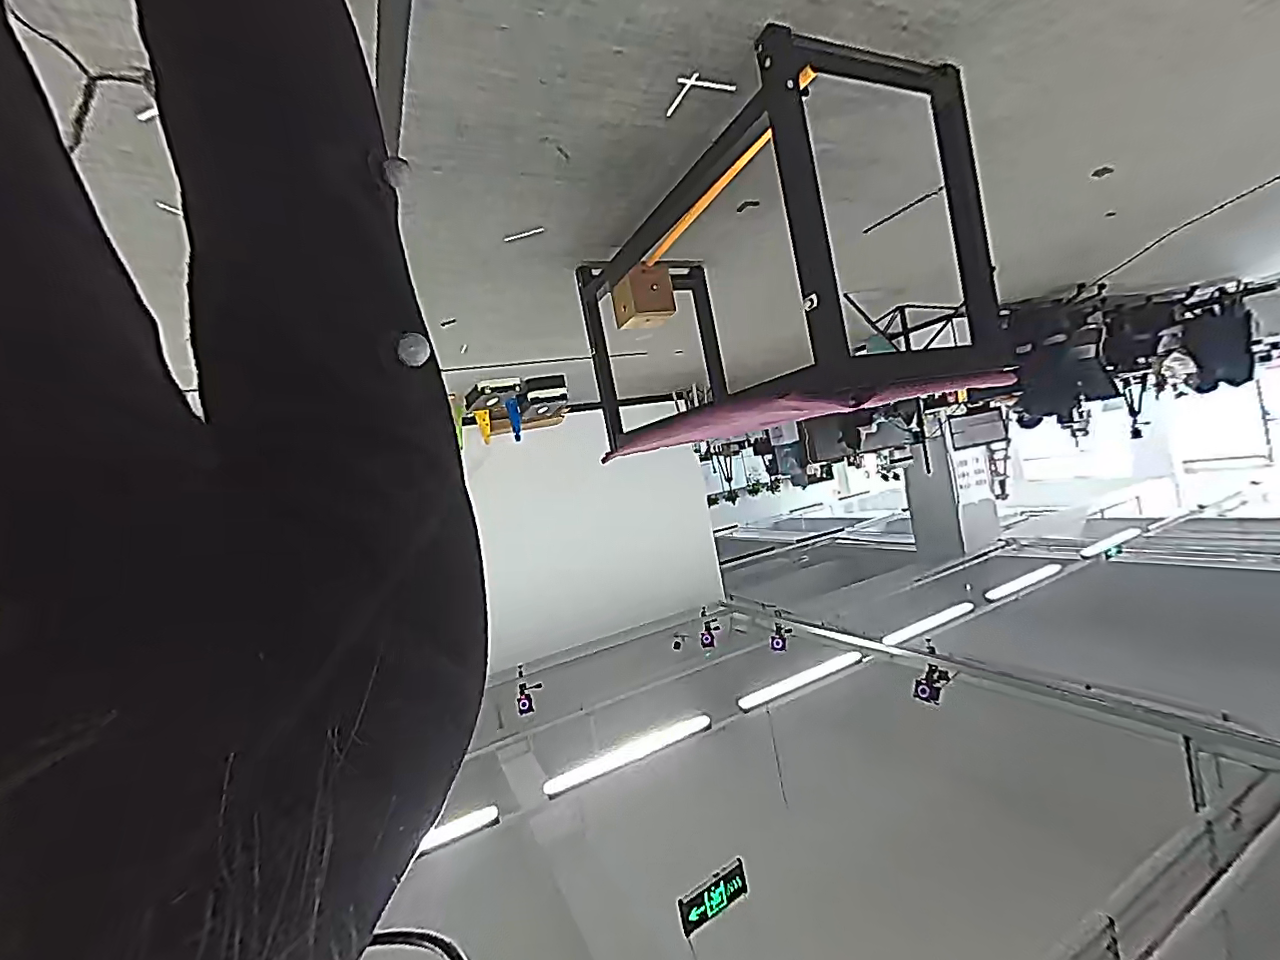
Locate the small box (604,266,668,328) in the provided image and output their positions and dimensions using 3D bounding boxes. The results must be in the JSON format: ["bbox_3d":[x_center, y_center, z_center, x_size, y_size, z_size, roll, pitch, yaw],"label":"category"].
[{"bbox_3d":[-0.021,-0.665,1.964,0.168,0.176,0.179,-10,180,-25],"label":"small box"}]
